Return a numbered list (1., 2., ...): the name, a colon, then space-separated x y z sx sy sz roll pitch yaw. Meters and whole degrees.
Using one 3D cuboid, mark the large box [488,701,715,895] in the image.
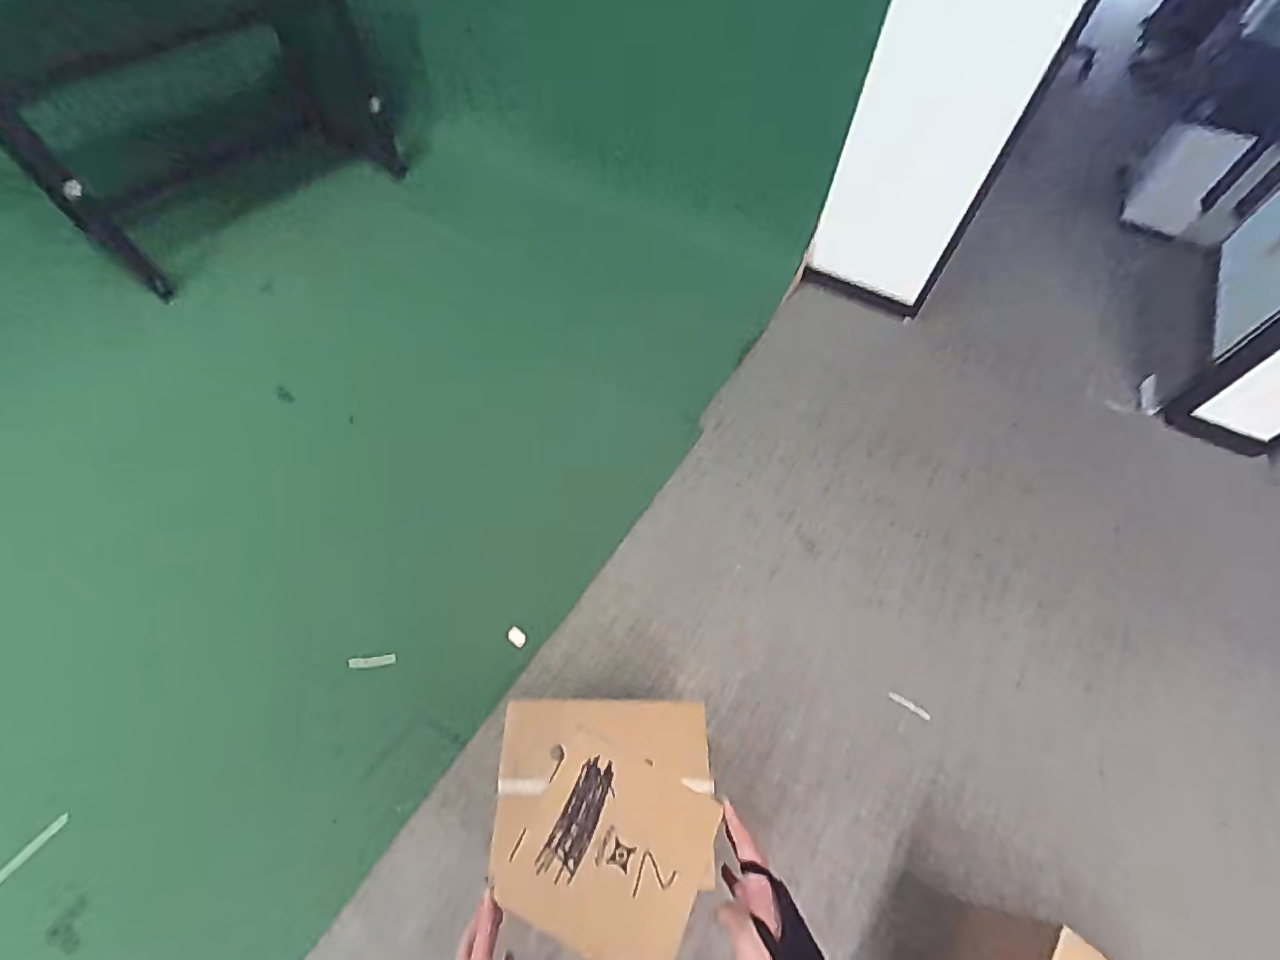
1. large box: -0.069 0.665 1.146 0.408 0.320 0.320 0 57 -1
